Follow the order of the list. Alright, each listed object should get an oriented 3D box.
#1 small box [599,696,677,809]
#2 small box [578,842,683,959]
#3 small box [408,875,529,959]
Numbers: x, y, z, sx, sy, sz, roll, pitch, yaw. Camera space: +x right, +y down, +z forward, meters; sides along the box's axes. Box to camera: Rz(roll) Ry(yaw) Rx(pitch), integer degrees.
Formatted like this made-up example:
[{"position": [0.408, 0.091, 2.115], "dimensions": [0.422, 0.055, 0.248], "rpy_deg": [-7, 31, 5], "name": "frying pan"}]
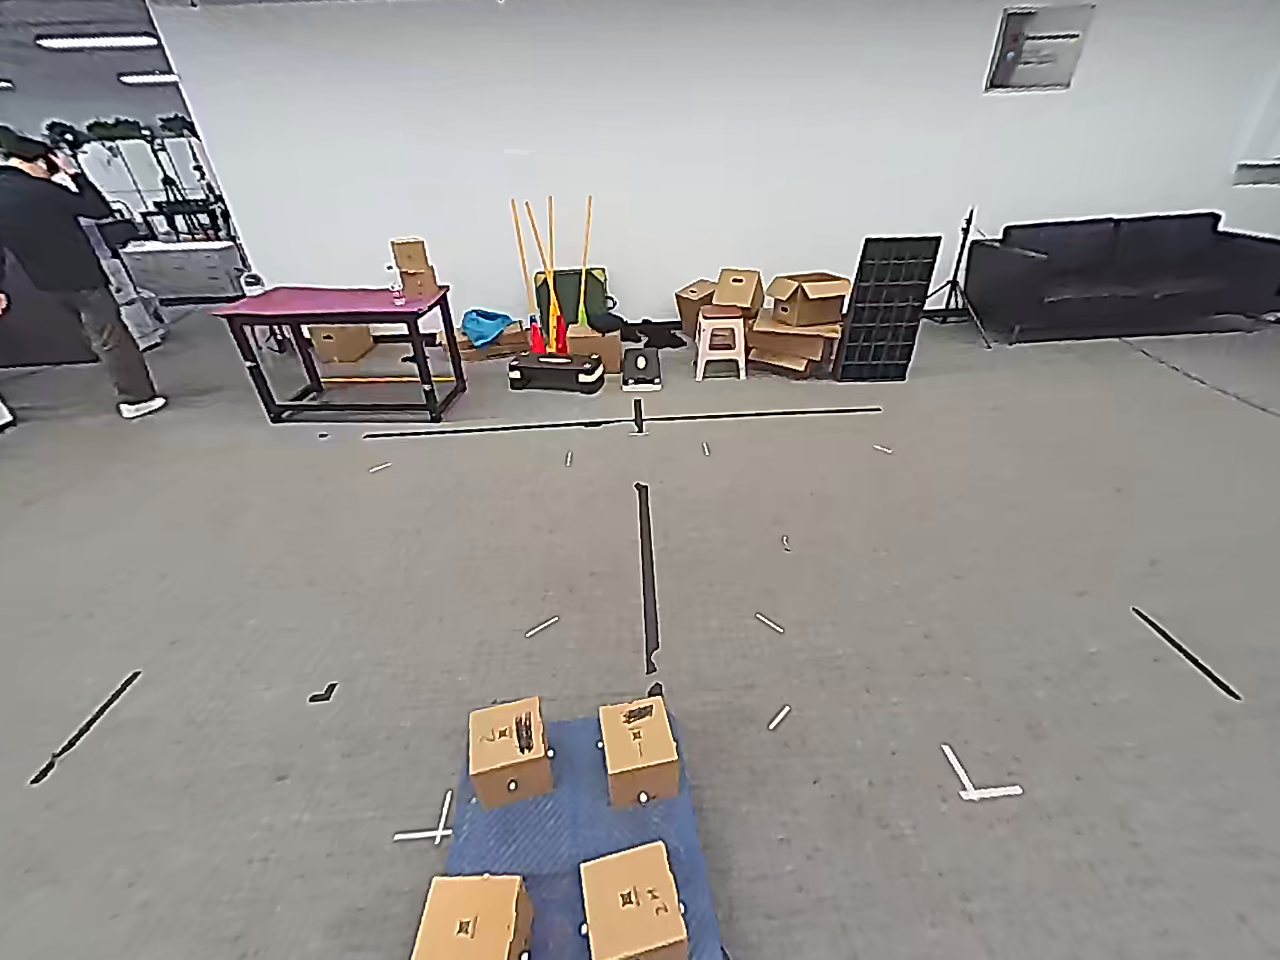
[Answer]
[{"position": [-0.008, 0.673, 1.341], "dimensions": [0.168, 0.176, 0.179], "rpy_deg": [-7, 34, -8], "name": "small box"}, {"position": [-0.018, 0.855, 1.056], "dimensions": [0.179, 0.176, 0.168], "rpy_deg": [-9, 33, -10], "name": "small box"}, {"position": [-0.320, 0.885, 1.030], "dimensions": [0.179, 0.176, 0.168], "rpy_deg": [-1, 32, 0], "name": "small box"}]
